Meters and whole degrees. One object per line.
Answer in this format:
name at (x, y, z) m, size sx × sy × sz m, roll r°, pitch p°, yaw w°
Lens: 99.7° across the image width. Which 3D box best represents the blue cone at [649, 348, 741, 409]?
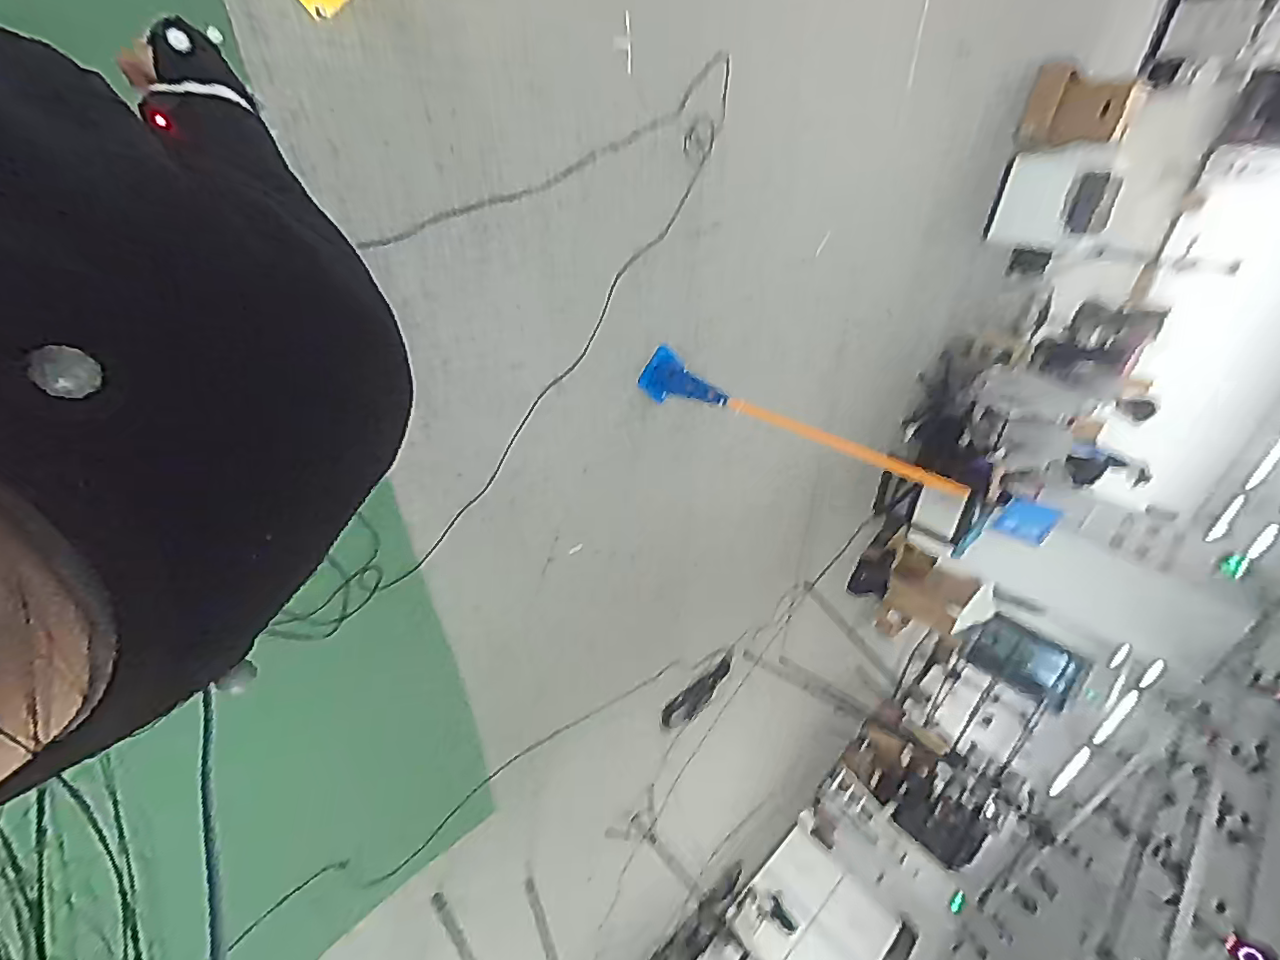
blue cone at (0.238, -0.363, 2.108) m, size 0.193 × 0.380 × 0.192 m, roll 28°, pitch 92°, yaw -53°
